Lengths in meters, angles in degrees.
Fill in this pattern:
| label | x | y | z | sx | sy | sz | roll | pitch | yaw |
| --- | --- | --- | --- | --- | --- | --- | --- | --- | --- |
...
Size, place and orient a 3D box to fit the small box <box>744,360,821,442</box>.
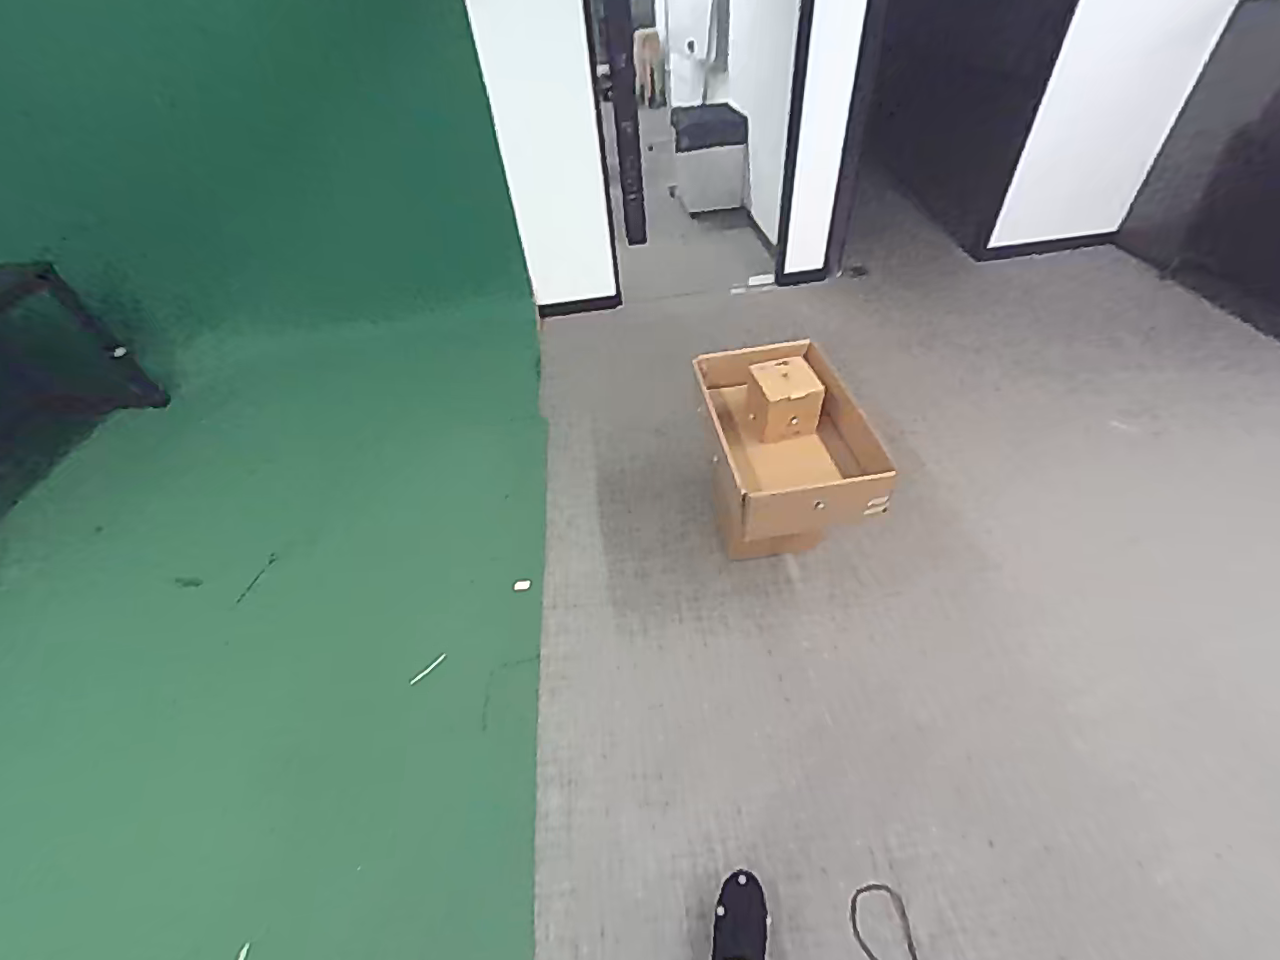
| label | x | y | z | sx | sy | sz | roll | pitch | yaw |
| --- | --- | --- | --- | --- | --- | --- | --- | --- | --- |
| small box | 0.419 | -0.229 | 1.619 | 0.168 | 0.176 | 0.179 | -10 | 48 | -5 |
